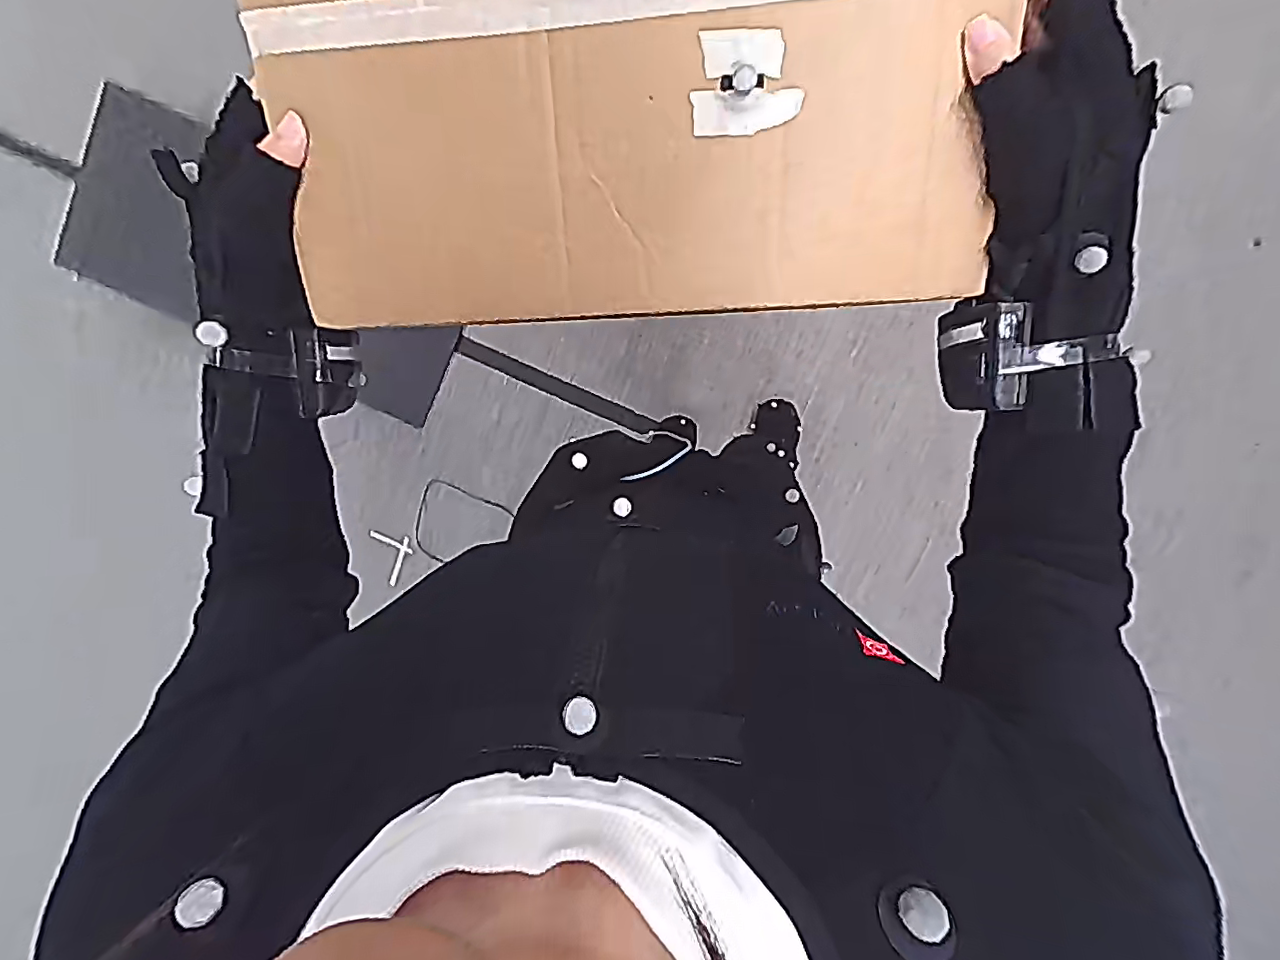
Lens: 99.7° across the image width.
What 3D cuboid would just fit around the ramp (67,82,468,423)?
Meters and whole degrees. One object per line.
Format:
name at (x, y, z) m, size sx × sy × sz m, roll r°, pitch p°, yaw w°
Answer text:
ramp at (-0.952, -0.580, 1.441) m, size 0.991 × 0.206 × 0.509 m, roll 25°, pitch 97°, yaw 4°

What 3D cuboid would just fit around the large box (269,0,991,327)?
large box at (-0.005, -0.304, 0.438) m, size 0.408 × 0.320 × 0.320 m, roll -3°, pitch 108°, yaw 5°
